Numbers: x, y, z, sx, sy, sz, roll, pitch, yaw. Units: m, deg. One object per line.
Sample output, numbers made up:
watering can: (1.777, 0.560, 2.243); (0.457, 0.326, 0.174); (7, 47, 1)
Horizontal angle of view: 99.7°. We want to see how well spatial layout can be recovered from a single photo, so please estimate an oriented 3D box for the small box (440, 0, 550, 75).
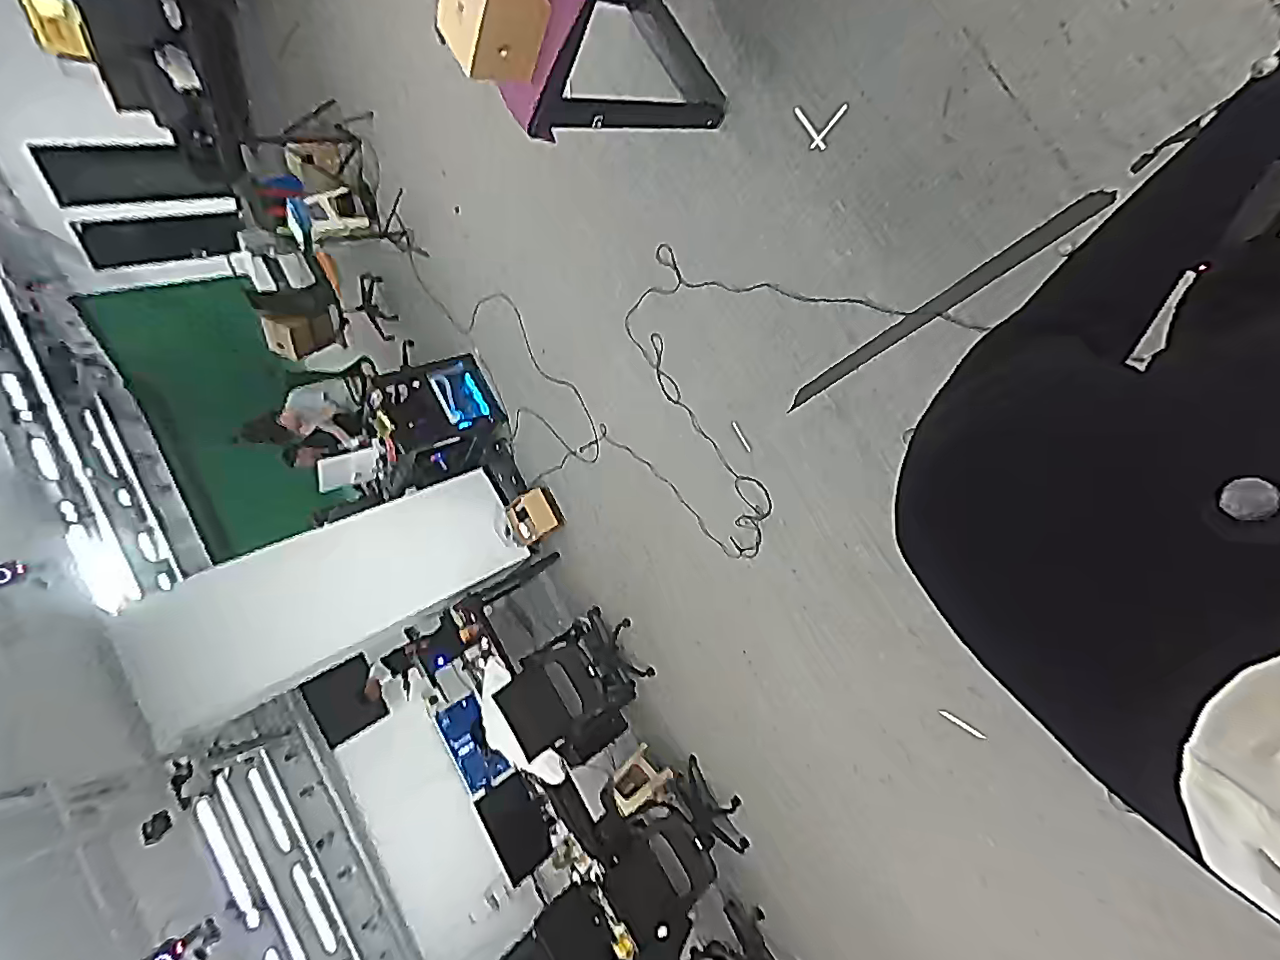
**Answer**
small box: (-0.326, -1.054, 1.217); (0.168, 0.176, 0.179); (60, 146, 5)
